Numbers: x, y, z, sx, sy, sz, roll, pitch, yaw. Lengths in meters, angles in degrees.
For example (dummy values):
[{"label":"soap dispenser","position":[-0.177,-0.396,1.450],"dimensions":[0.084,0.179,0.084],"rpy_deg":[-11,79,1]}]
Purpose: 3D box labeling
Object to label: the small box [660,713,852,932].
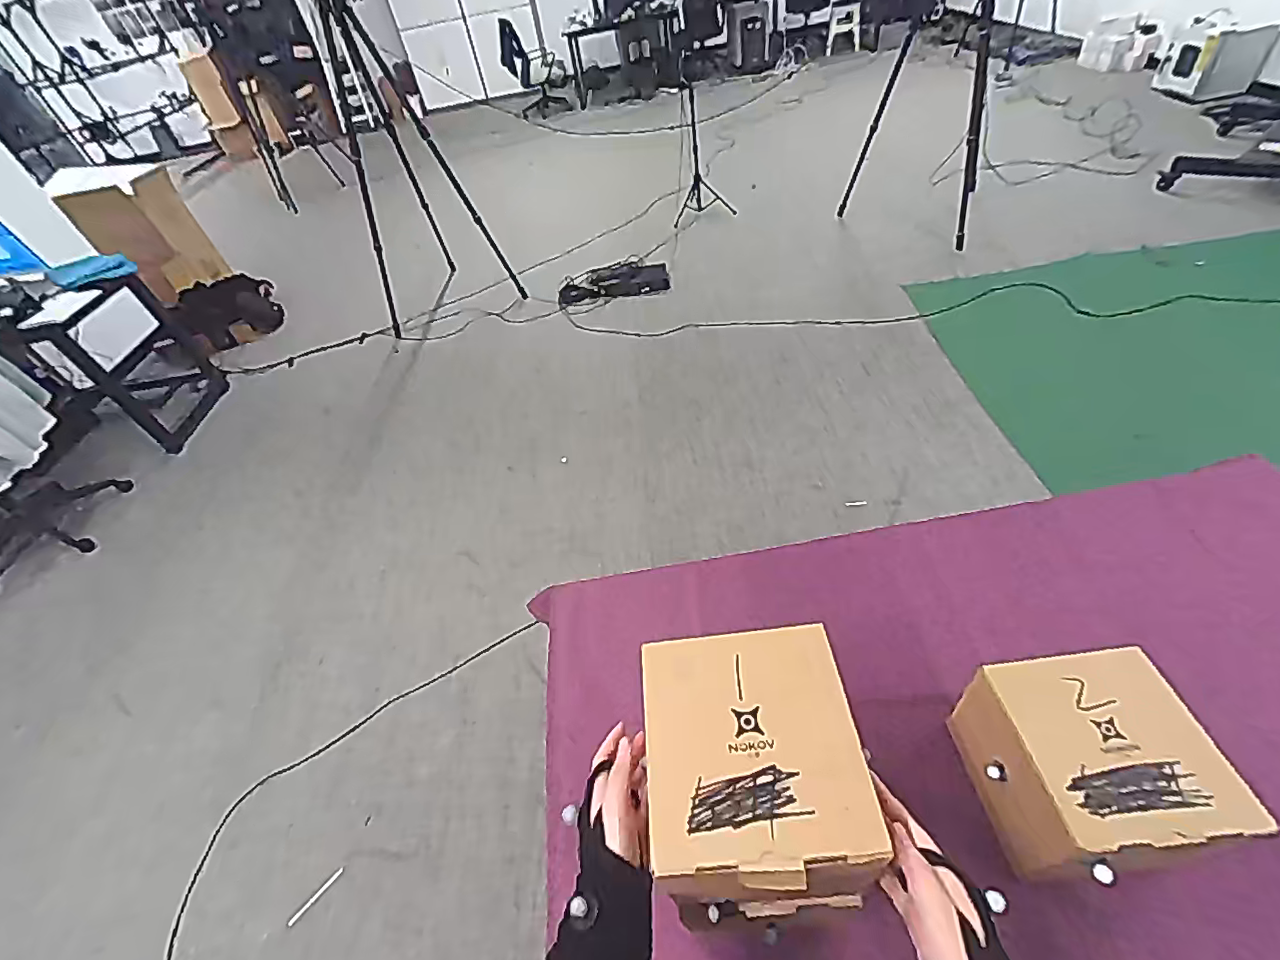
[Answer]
[{"label":"small box","position":[0.117,0.379,0.594],"dimensions":[0.168,0.176,0.179],"rpy_deg":[-7,46,4]}]
